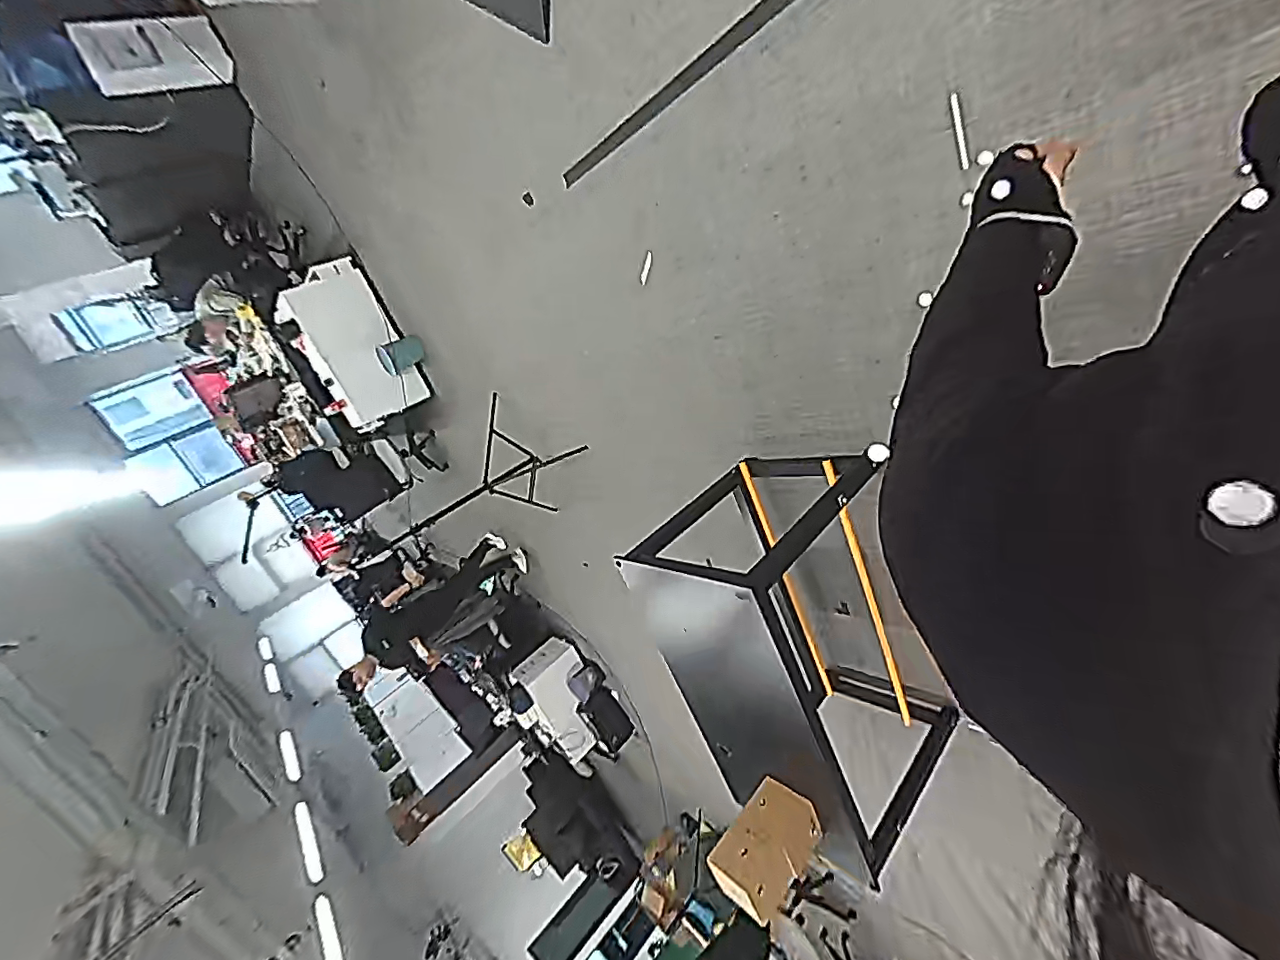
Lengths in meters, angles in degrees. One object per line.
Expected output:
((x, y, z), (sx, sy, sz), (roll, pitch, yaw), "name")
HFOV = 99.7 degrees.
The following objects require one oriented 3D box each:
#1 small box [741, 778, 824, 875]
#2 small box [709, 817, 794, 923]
((0.464, 1.110, 1.753), (0.179, 0.176, 0.168), (5, 125, 51), "small box")
((0.348, 1.198, 1.675), (0.168, 0.176, 0.179), (6, 126, 52), "small box")
